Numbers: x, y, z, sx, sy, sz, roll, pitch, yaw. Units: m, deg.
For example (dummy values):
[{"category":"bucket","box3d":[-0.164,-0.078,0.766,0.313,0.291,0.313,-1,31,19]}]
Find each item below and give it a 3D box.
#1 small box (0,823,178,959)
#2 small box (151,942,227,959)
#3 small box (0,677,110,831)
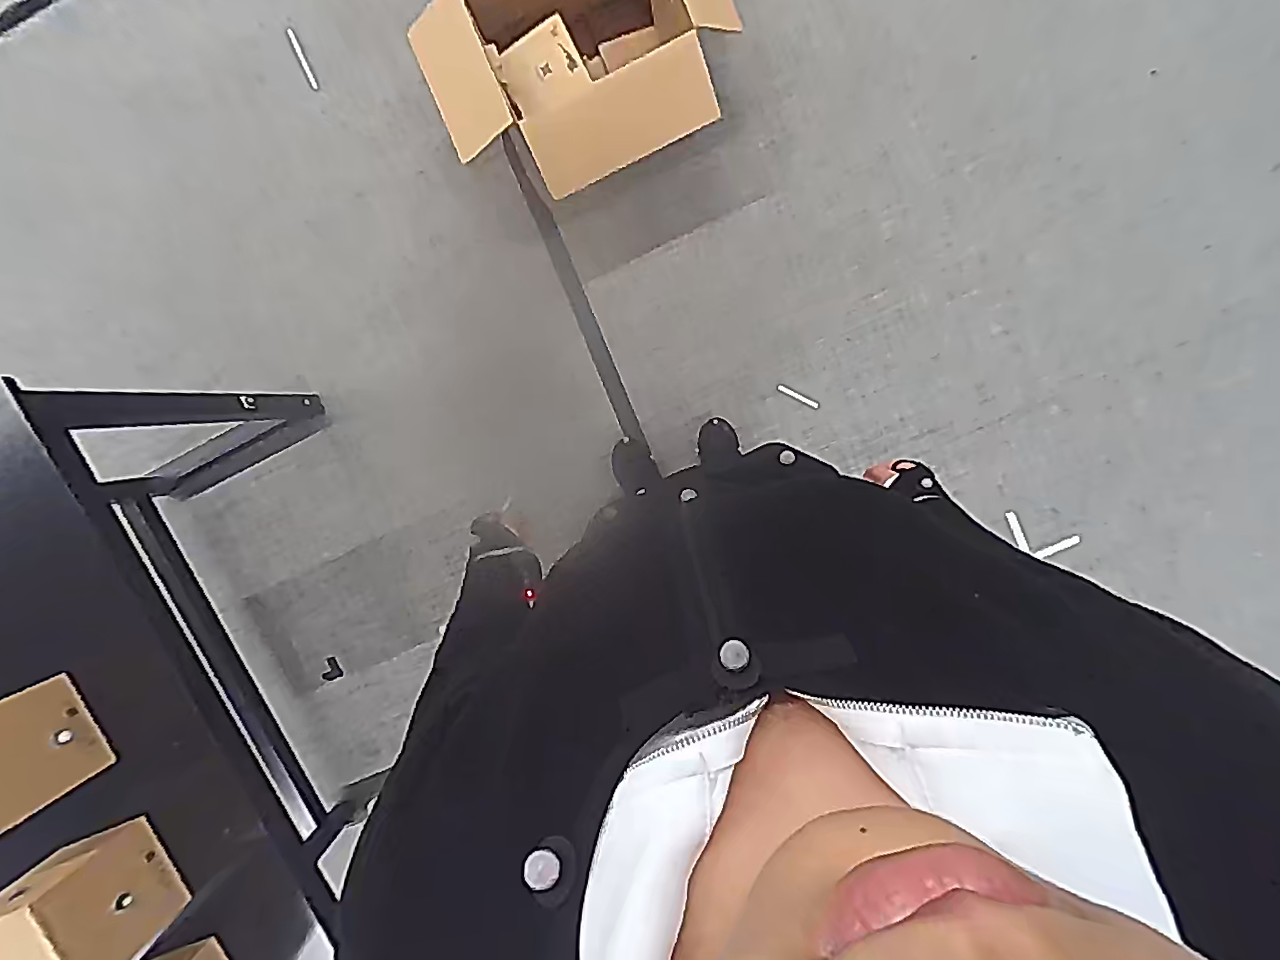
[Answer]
[{"category":"small box","box3d":[-0.864,0.668,0.823,0.179,0.176,0.168,-23,95,7]},{"category":"small box","box3d":[-0.766,0.886,0.851,0.179,0.176,0.168,-24,95,7]},{"category":"small box","box3d":[-0.963,0.424,0.795,0.179,0.176,0.168,-23,96,6]}]
